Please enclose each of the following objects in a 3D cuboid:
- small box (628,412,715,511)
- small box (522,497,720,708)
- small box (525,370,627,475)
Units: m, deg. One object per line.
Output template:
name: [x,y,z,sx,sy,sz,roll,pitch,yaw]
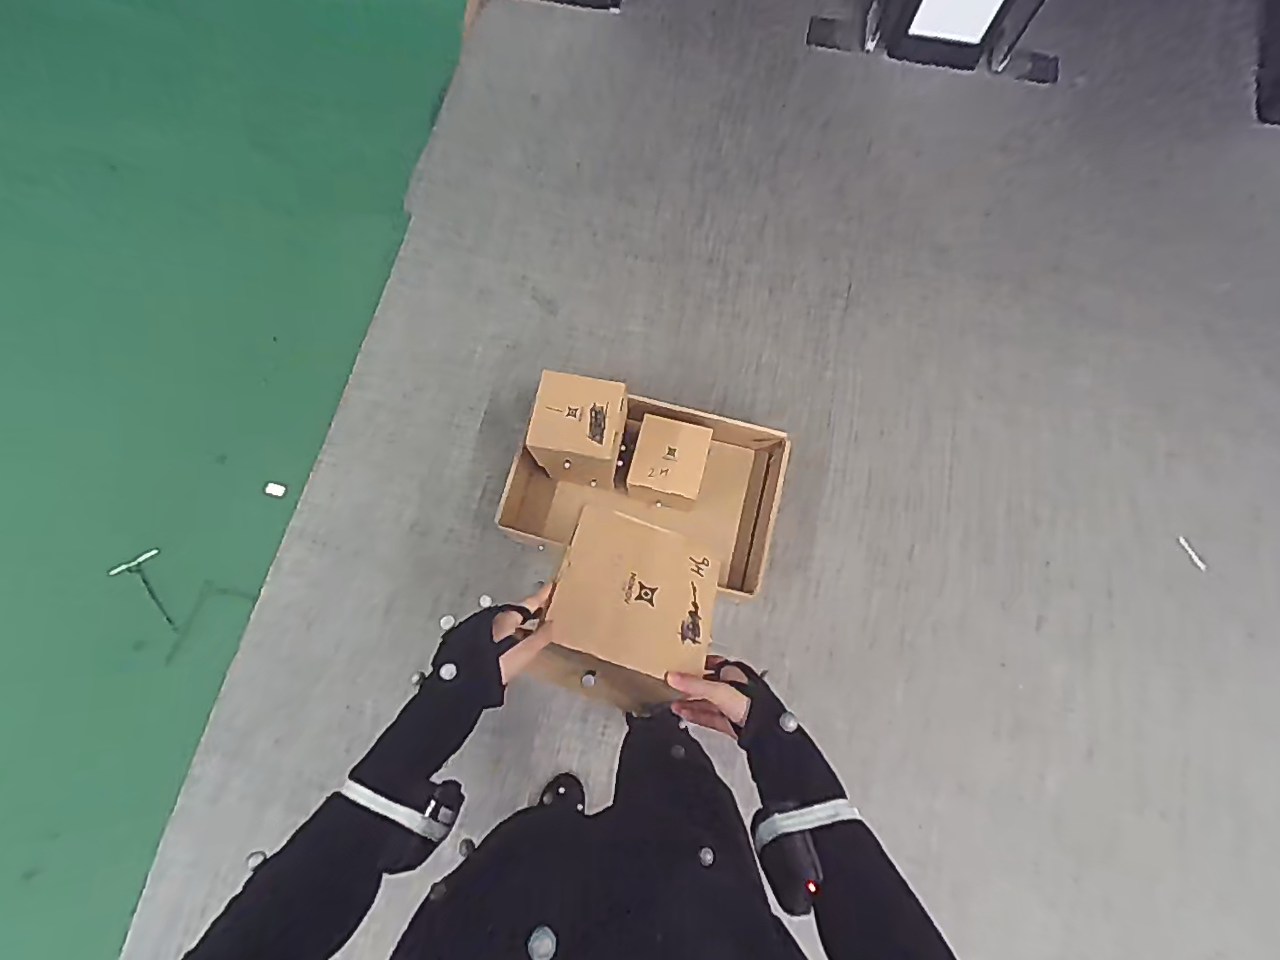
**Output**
small box: [0.074,-0.039,1.306,0.168,0.176,0.179,14,77,6]
small box: [-0.028,0.153,0.638,0.179,0.176,0.168,21,55,-5]
small box: [-0.126,-0.115,1.159,0.179,0.176,0.168,10,77,4]
